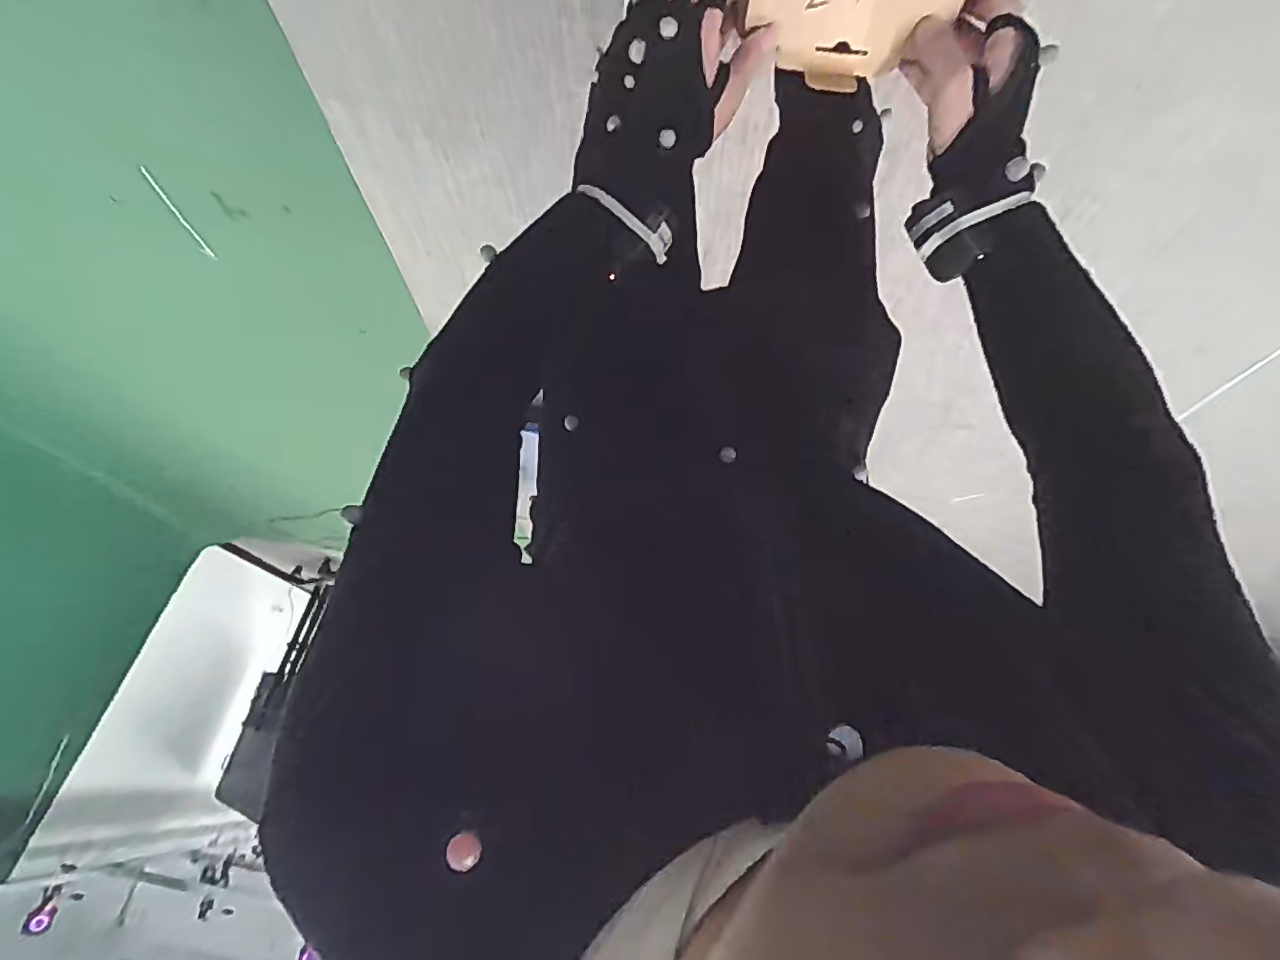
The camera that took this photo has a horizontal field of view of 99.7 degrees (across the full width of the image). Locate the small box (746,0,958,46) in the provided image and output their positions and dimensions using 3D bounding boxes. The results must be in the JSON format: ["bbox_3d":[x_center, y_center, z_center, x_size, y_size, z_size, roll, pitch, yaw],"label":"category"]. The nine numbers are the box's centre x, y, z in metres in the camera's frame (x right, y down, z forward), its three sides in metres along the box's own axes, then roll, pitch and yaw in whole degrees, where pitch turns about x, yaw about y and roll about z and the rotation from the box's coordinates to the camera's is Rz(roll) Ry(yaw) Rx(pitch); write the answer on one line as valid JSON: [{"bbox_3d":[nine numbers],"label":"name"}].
[{"bbox_3d":[0.170,-0.474,0.417,0.168,0.176,0.179,3,141,-5],"label":"small box"}]
